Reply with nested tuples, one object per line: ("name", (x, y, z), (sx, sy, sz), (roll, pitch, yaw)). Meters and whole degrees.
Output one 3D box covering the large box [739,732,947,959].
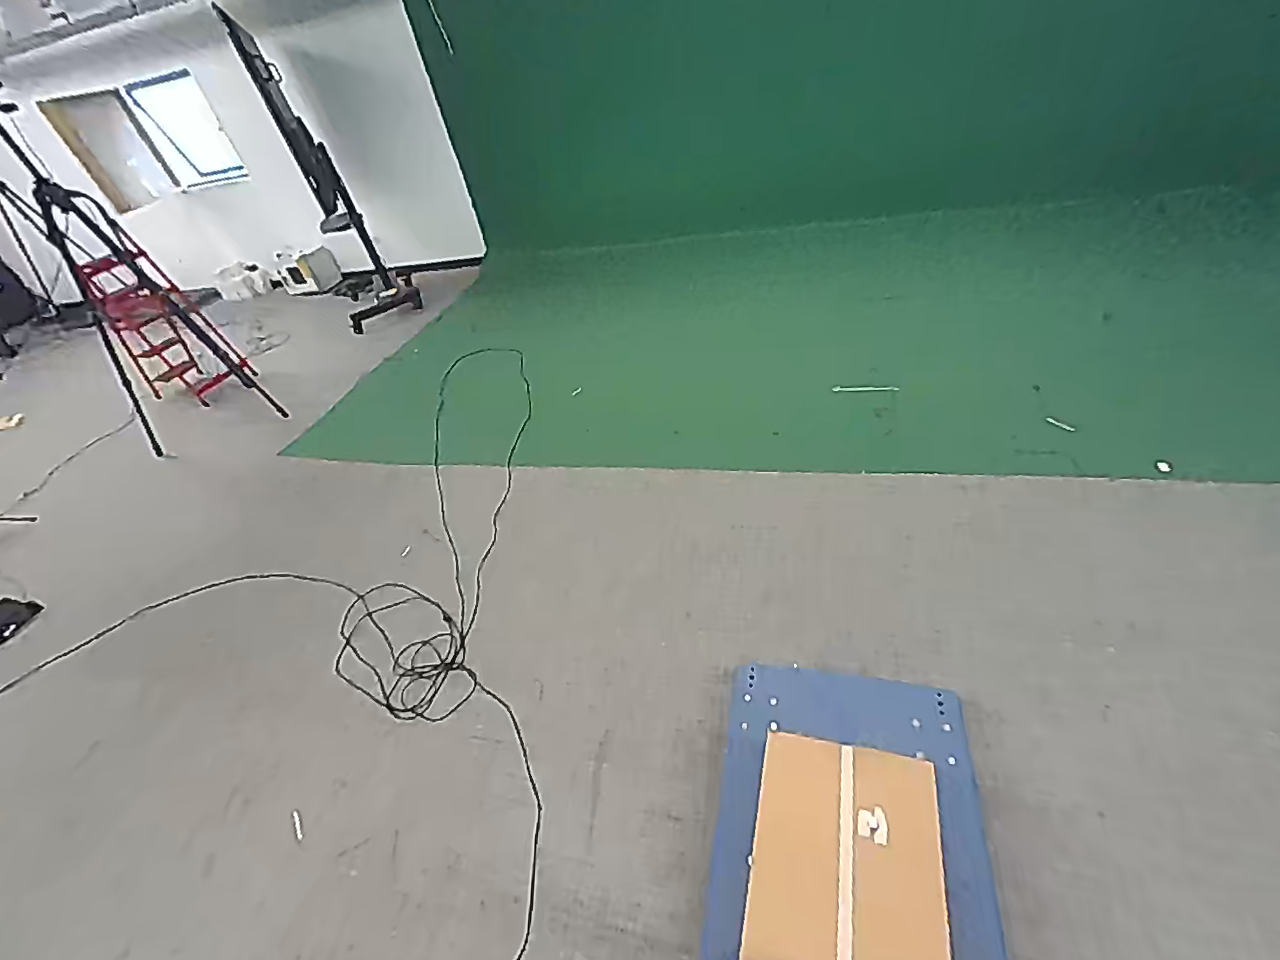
("large box", (0.380, 0.779, 1.045), (0.320, 0.320, 0.408), (4, 42, 19))
